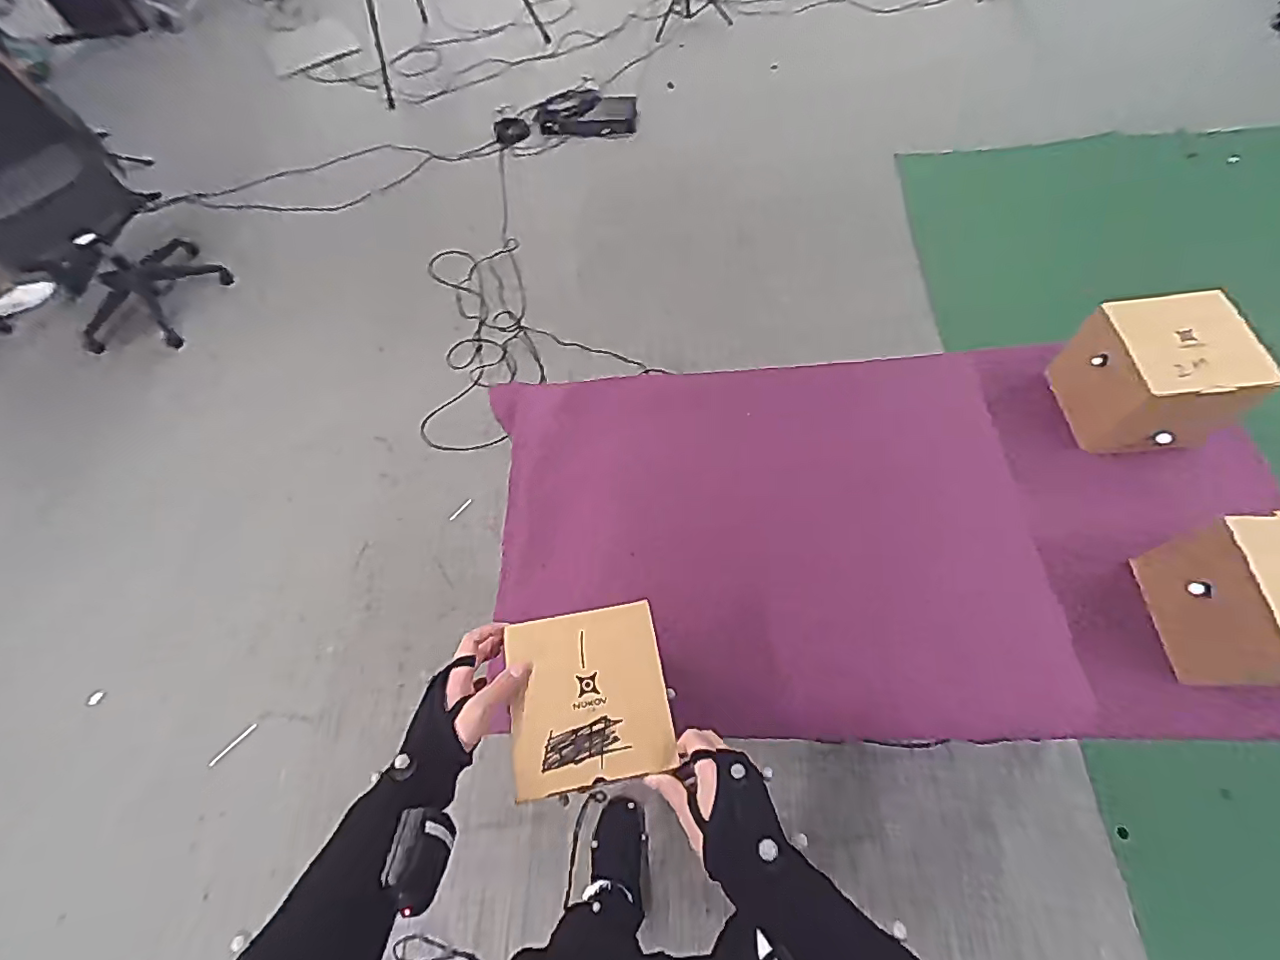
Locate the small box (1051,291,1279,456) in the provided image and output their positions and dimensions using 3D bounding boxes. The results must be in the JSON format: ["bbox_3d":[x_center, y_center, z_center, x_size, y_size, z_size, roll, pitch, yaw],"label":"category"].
[{"bbox_3d":[0.782,-0.156,0.829,0.168,0.176,0.179,-6,62,8],"label":"small box"}]

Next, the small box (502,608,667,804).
[{"bbox_3d":[-0.062,0.271,0.649,0.168,0.176,0.179,-9,61,-4],"label":"small box"}]

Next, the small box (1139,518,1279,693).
[{"bbox_3d":[0.780,0.158,0.663,0.168,0.176,0.179,-3,62,8],"label":"small box"}]
